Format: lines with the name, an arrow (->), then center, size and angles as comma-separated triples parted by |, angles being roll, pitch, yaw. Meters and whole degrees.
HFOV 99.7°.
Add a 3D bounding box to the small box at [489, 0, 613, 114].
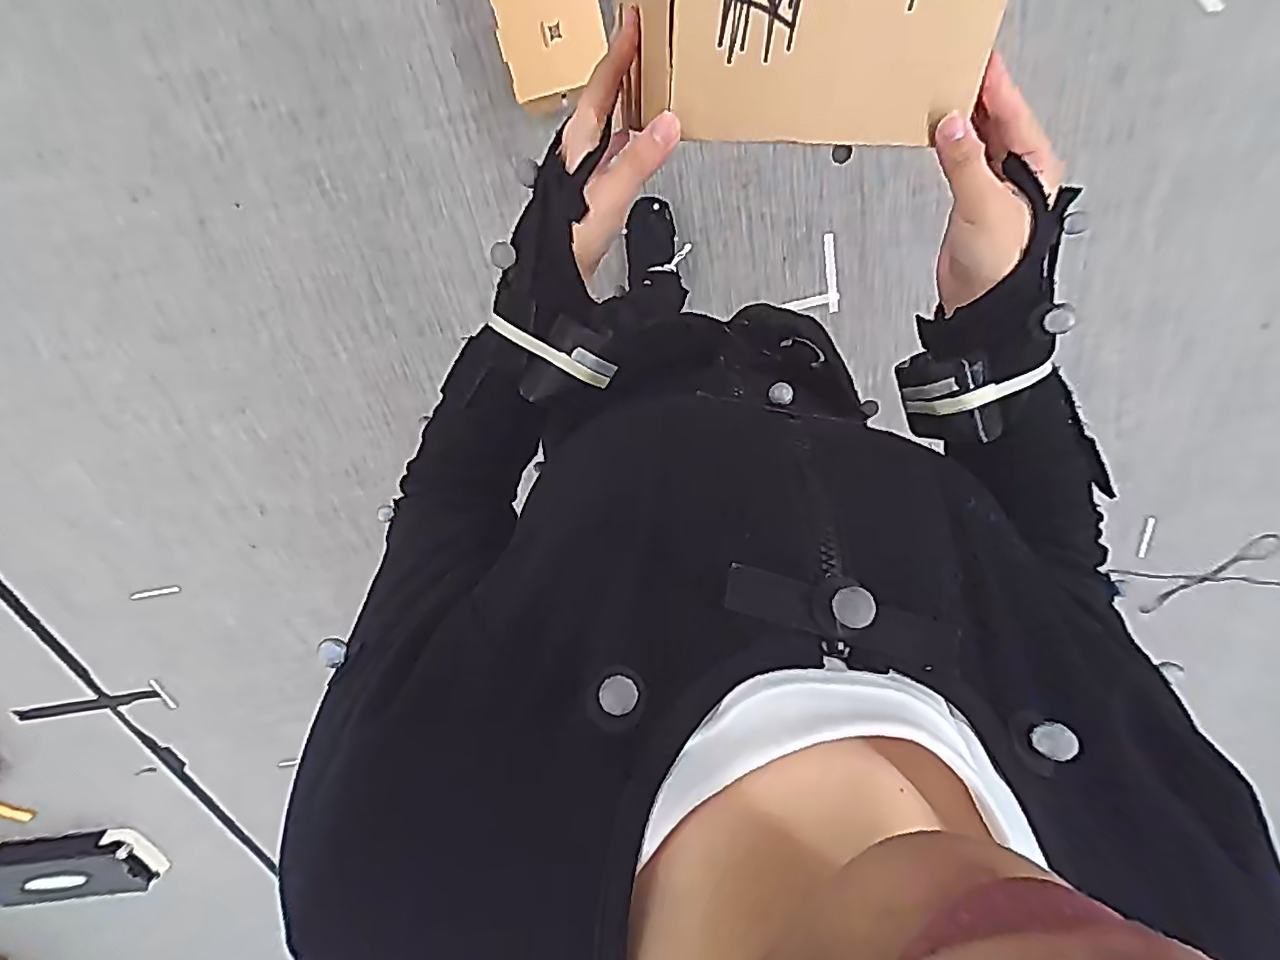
small box -> -0.150, -0.782, 0.972 | 0.179, 0.176, 0.168 | -12, 118, 5
